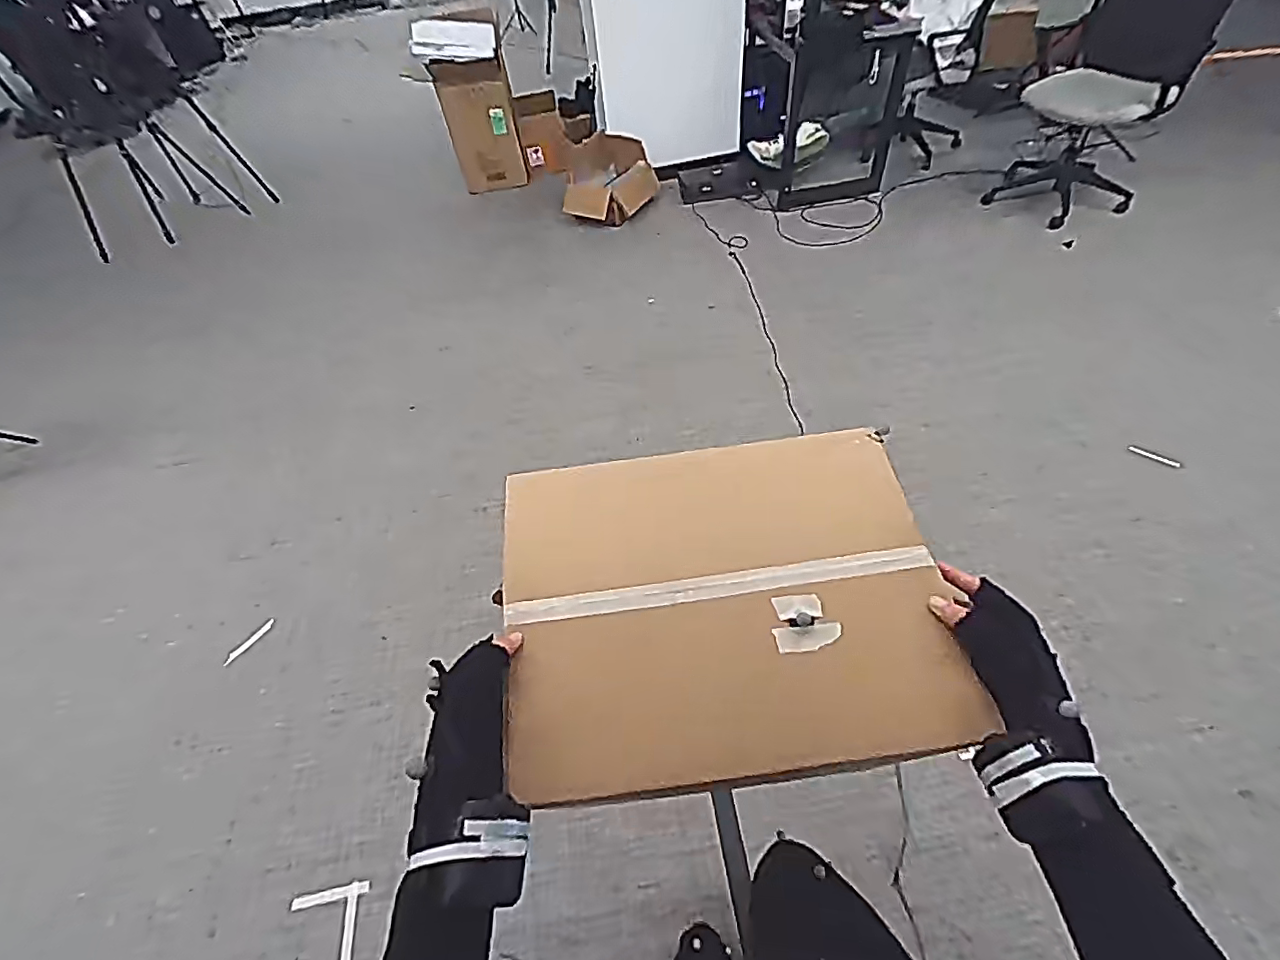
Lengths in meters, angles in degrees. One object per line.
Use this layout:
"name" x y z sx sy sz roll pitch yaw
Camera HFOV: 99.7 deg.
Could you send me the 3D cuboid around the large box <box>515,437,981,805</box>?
"large box" 0.083 0.185 0.655 0.408 0.320 0.320 -8 59 -1
